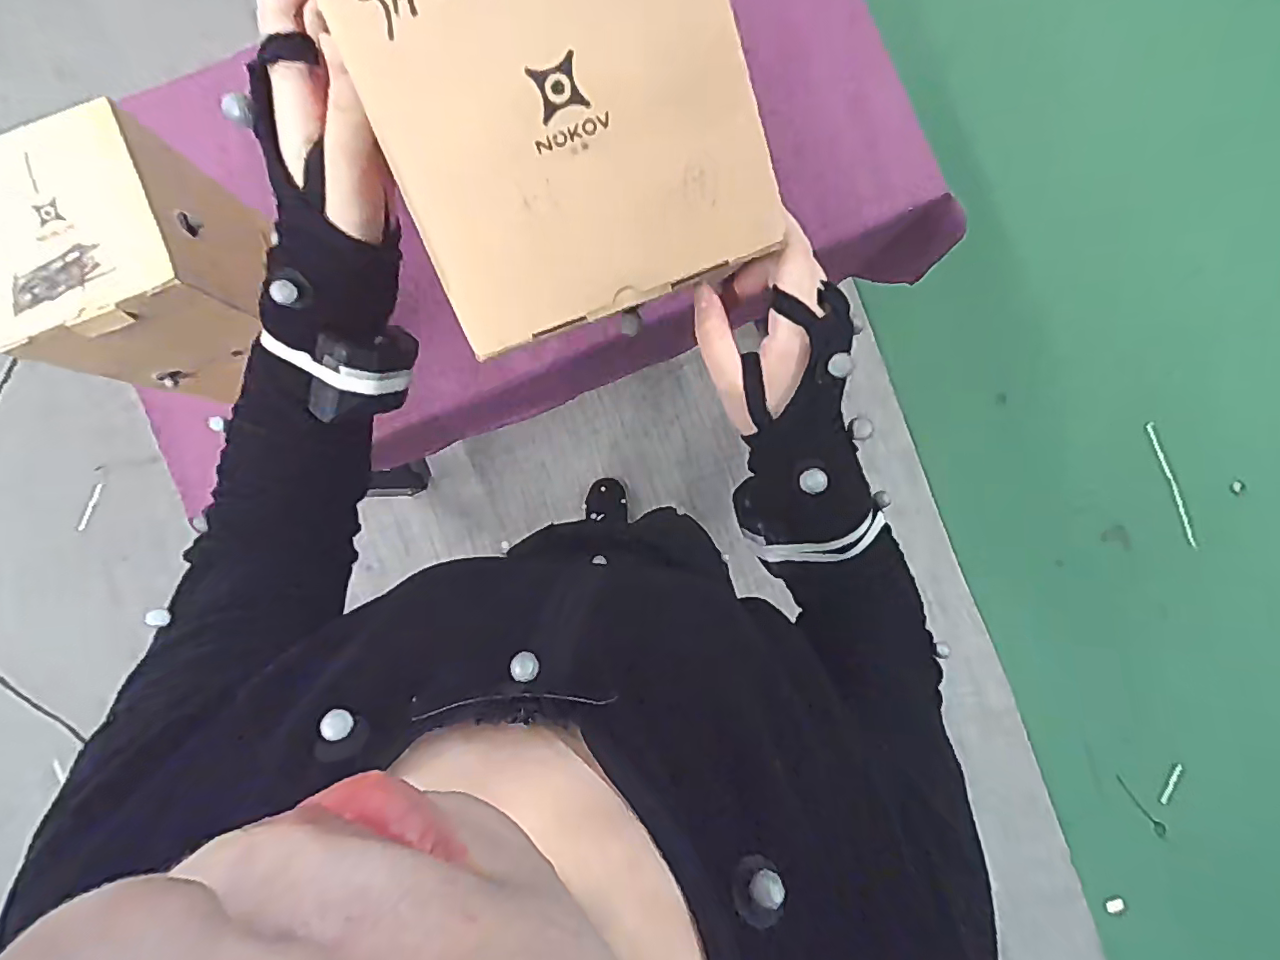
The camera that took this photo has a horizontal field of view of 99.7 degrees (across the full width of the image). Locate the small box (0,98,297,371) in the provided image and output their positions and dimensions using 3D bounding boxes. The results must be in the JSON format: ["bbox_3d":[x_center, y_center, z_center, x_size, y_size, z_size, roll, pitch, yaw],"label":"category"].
[{"bbox_3d":[-0.496,-0.225,0.551,0.168,0.176,0.179,-22,87,-1],"label":"small box"}]

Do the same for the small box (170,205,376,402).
[{"bbox_3d":[-0.492,-0.217,0.716,0.179,0.176,0.168,-21,88,-1],"label":"small box"}]
